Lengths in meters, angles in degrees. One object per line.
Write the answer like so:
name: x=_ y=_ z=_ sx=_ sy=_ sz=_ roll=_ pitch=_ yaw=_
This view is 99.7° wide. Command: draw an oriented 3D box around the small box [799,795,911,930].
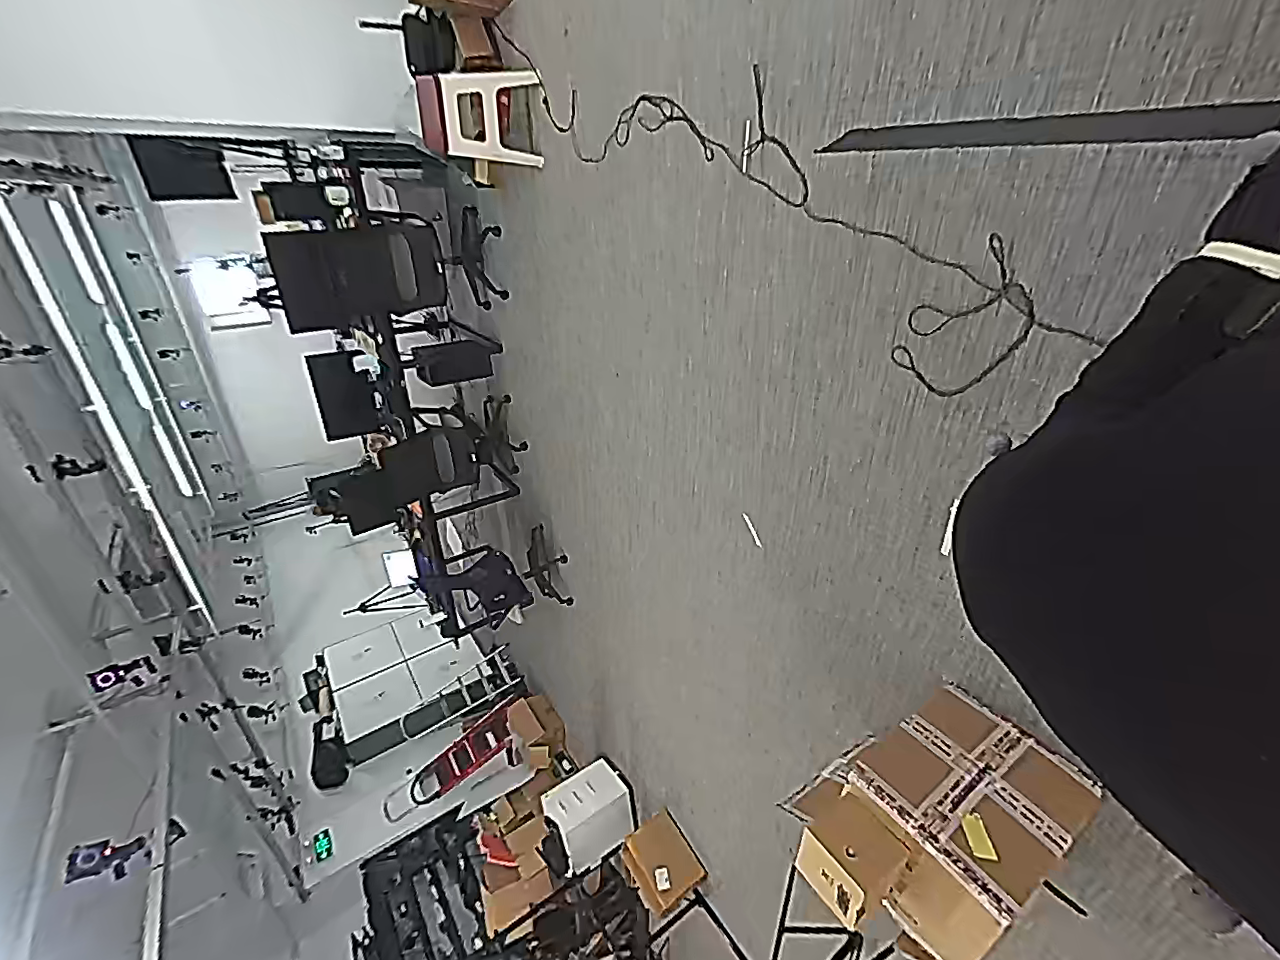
small box: x=0.520 y=0.916 z=1.311 sx=0.179 sy=0.176 sz=0.168 roll=36 pitch=133 yaw=48
